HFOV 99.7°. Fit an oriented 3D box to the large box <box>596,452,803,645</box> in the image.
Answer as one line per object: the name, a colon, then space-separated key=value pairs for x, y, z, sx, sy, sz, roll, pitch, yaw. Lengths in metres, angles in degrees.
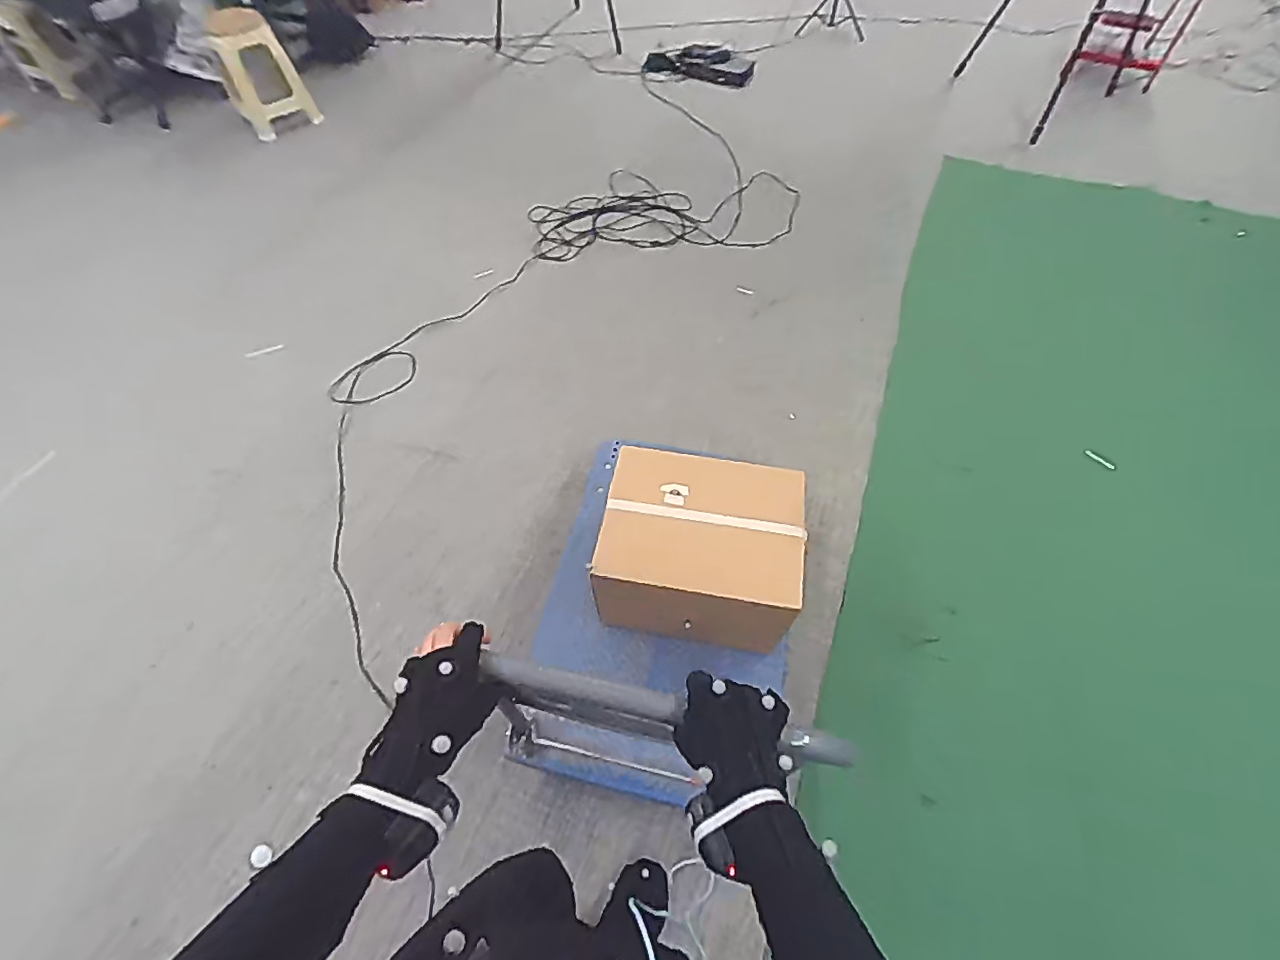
large box: x=0.140 y=0.164 z=1.238 sx=0.408 sy=0.320 sz=0.320 roll=7 pitch=58 yaw=7
